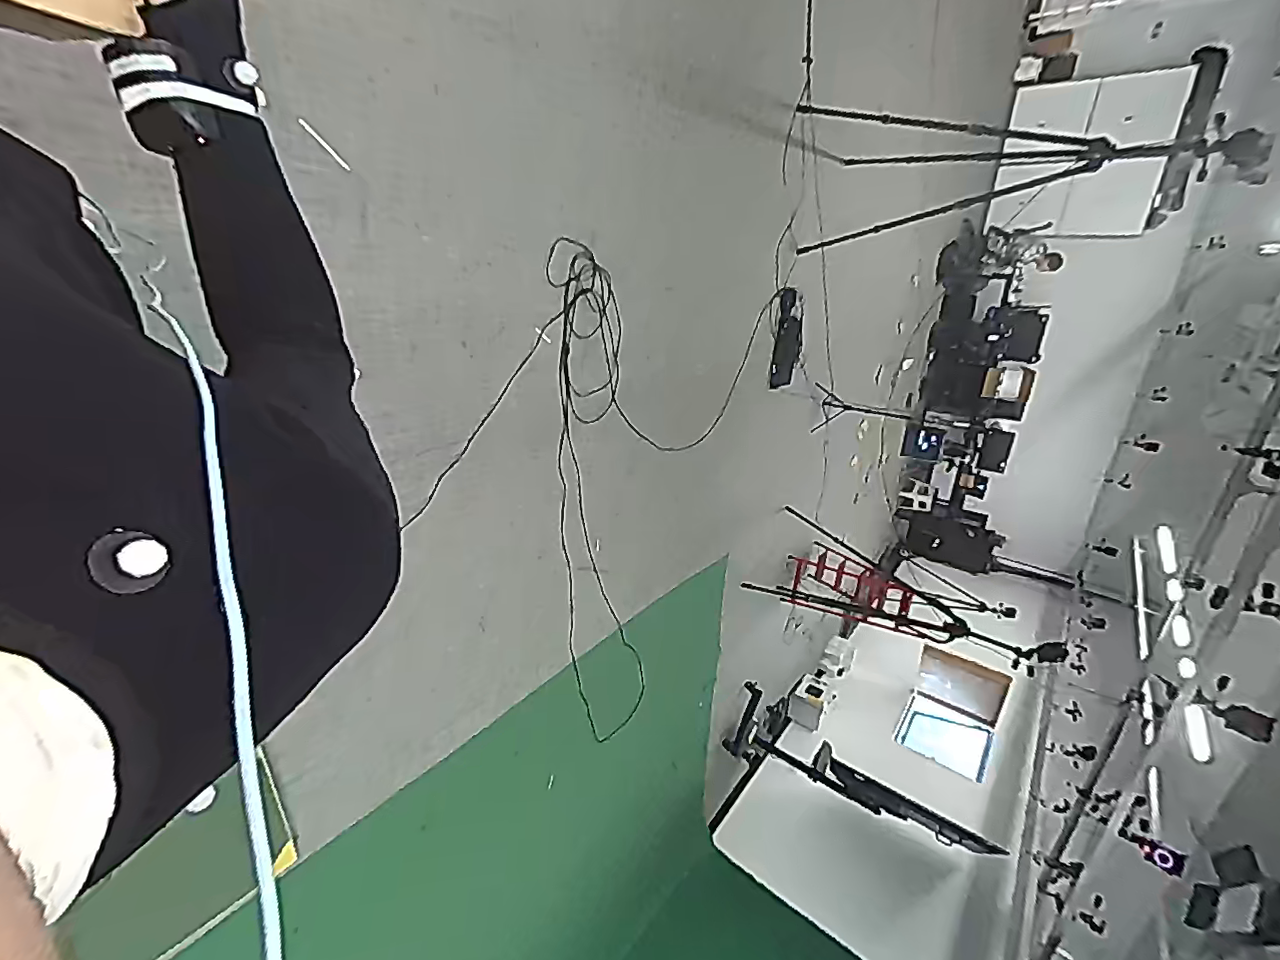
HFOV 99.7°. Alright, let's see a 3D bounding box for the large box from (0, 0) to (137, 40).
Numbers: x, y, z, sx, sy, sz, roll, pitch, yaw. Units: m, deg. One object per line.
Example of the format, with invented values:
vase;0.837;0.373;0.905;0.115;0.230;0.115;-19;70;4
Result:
large box;-0.592;-0.491;0.278;0.408;0.320;0.320;-19;130;-50
